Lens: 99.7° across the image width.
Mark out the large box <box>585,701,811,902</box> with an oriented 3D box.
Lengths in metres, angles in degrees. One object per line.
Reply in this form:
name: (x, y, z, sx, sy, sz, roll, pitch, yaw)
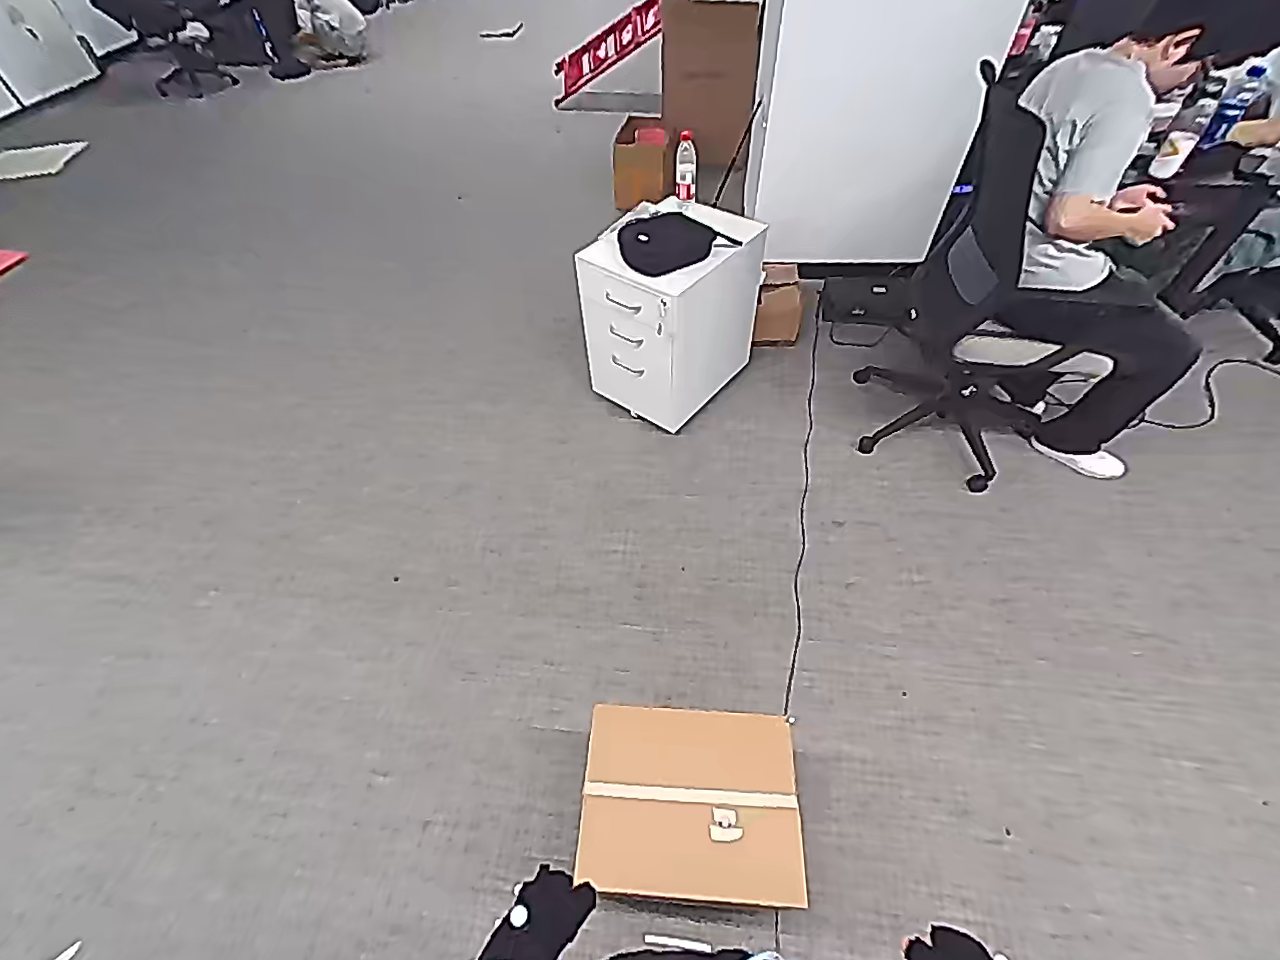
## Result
large box: (0.111, 0.686, 1.149, 0.408, 0.320, 0.320, 2, 52, 4)
